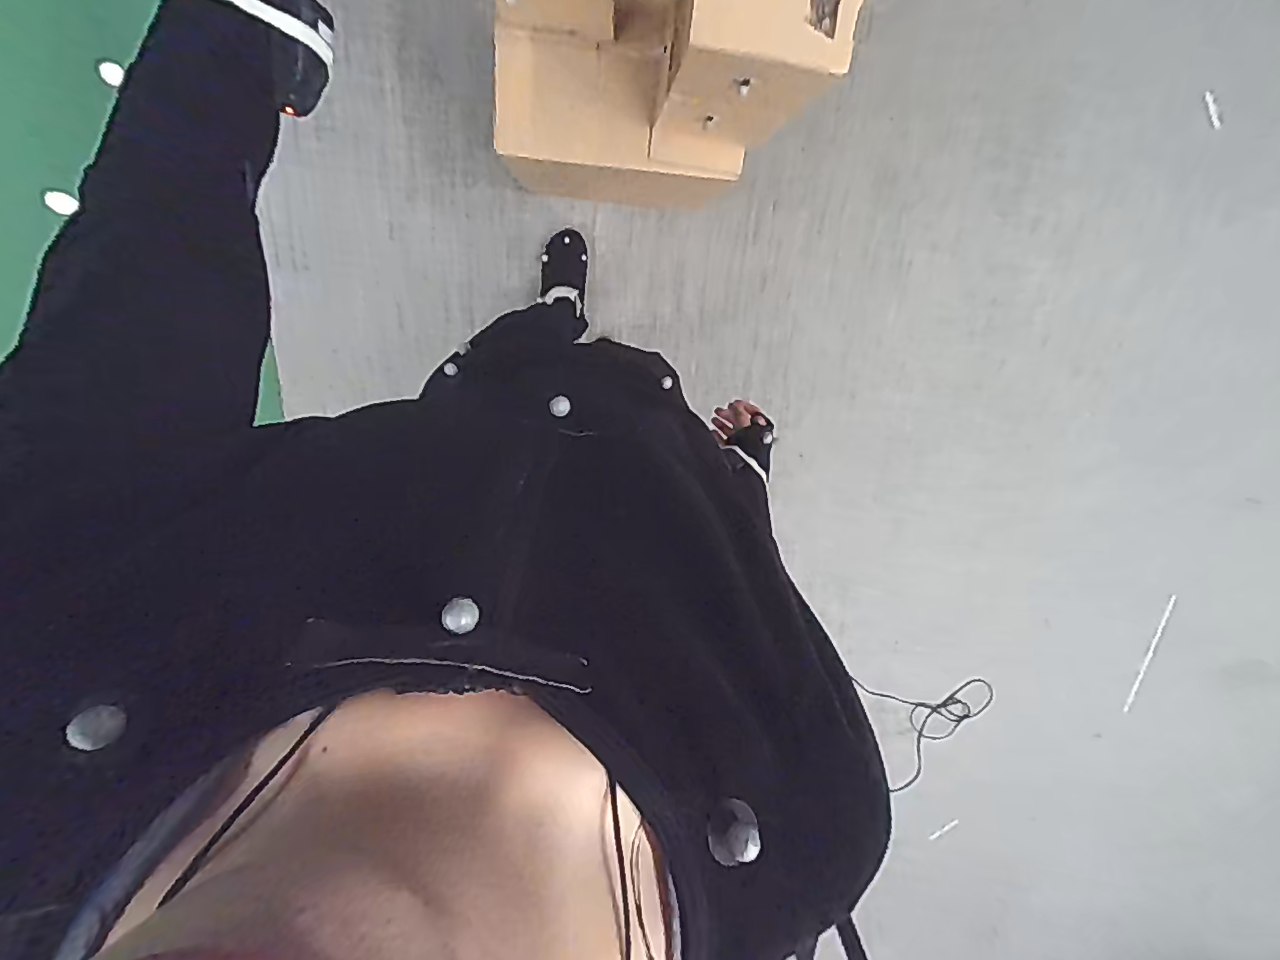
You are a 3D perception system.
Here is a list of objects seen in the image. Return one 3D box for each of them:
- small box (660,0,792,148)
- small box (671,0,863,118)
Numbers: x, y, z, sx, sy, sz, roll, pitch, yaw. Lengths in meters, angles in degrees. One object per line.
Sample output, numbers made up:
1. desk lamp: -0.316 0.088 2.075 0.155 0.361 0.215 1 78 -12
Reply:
1. small box: 0.126 -0.593 0.772 0.179 0.176 0.168 6 111 -5
2. small box: 0.140 -0.538 0.618 0.179 0.176 0.168 6 109 -6
